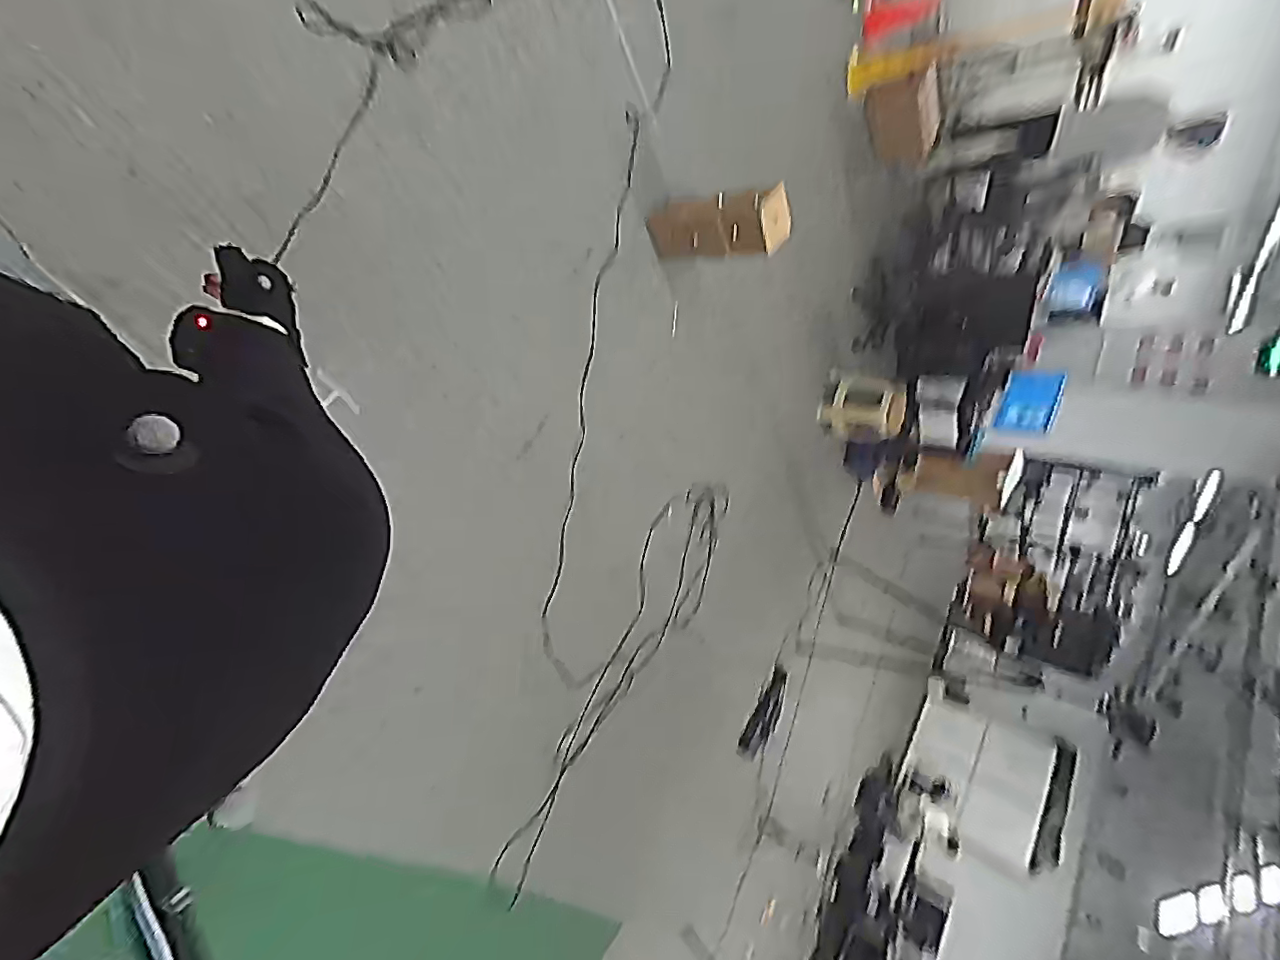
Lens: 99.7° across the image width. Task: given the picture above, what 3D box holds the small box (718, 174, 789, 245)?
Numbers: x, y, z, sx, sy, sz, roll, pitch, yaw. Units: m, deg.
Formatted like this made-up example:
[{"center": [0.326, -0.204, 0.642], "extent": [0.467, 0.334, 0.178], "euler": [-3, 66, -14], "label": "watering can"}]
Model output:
[{"center": [0.402, -0.955, 1.915], "extent": [0.179, 0.176, 0.168], "euler": [-52, 137, -24], "label": "small box"}]

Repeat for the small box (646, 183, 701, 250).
[{"center": [0.151, -1.023, 2.112], "extent": [0.168, 0.176, 0.179], "euler": [-53, 136, -24], "label": "small box"}]

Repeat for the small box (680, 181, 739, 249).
[{"center": [0.276, -0.983, 2.013], "extent": [0.179, 0.176, 0.168], "euler": [-52, 136, -24], "label": "small box"}]
